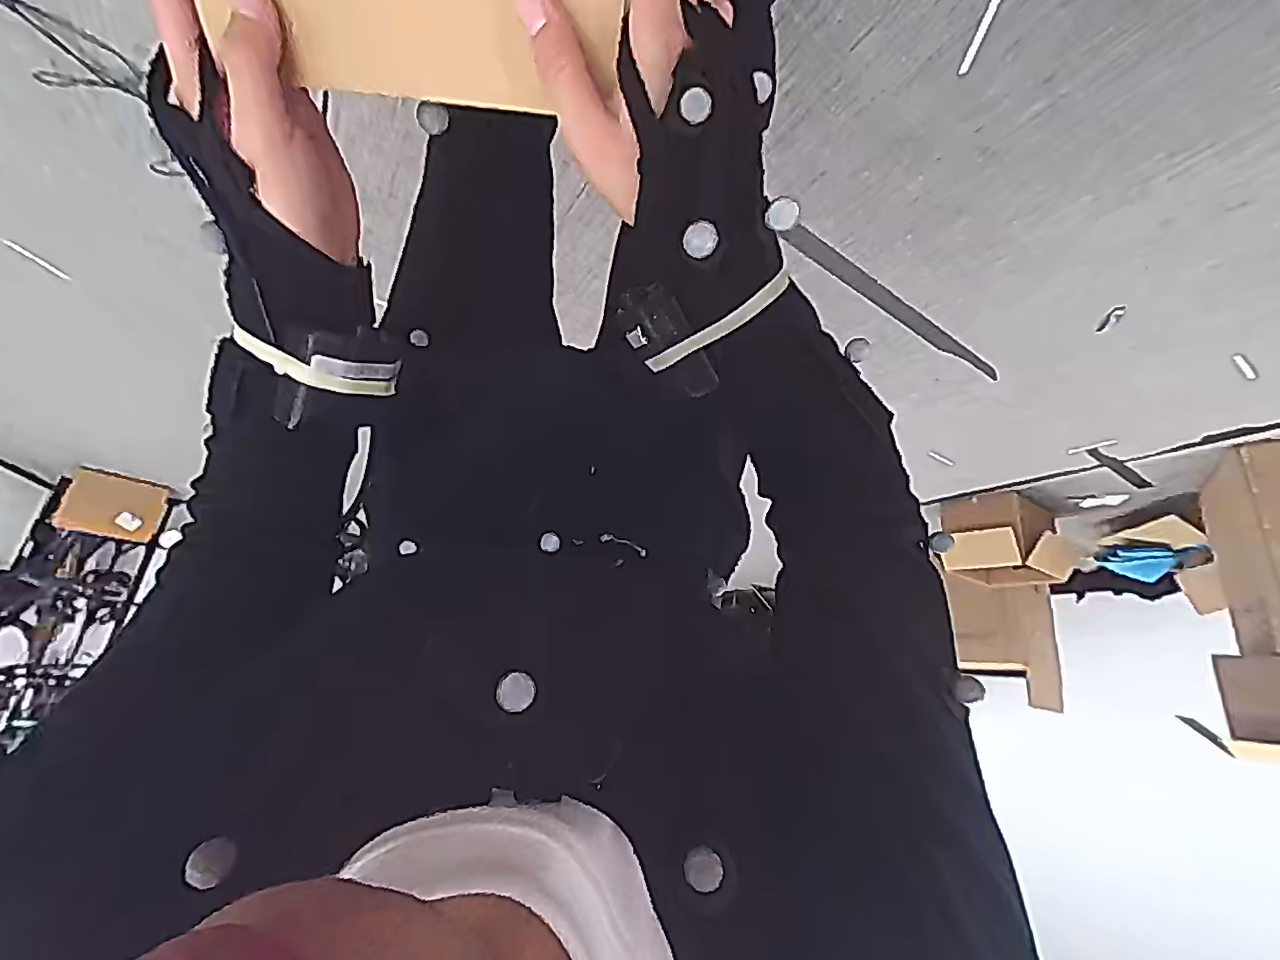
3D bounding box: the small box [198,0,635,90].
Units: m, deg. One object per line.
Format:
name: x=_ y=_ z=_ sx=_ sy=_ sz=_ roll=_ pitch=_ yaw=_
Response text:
small box: x=-0.086 y=-0.291 z=0.241 sx=0.179 sy=0.176 sz=0.168 roll=4 pitch=129 yaw=-4
